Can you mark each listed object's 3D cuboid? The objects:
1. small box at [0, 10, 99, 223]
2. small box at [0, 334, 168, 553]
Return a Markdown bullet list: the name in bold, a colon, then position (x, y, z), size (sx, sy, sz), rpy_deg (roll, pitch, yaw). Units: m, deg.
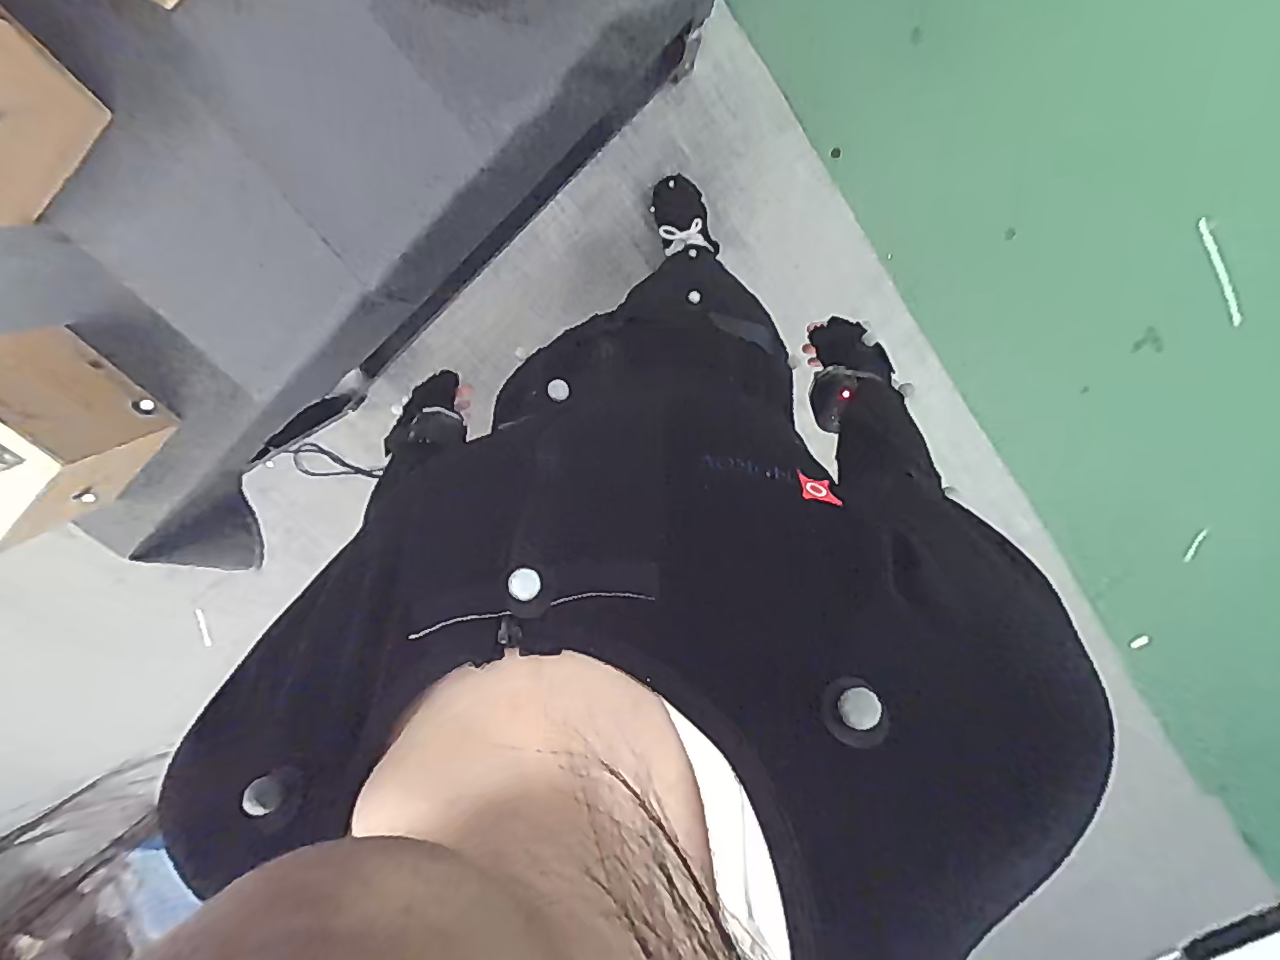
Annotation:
- **small box**: position (-0.678, -0.366, 0.500), size (0.179, 0.176, 0.168), rpy_deg (-37, 110, 12)
- **small box**: position (-0.717, -0.049, 0.630), size (0.179, 0.176, 0.168), rpy_deg (-39, 108, 13)
